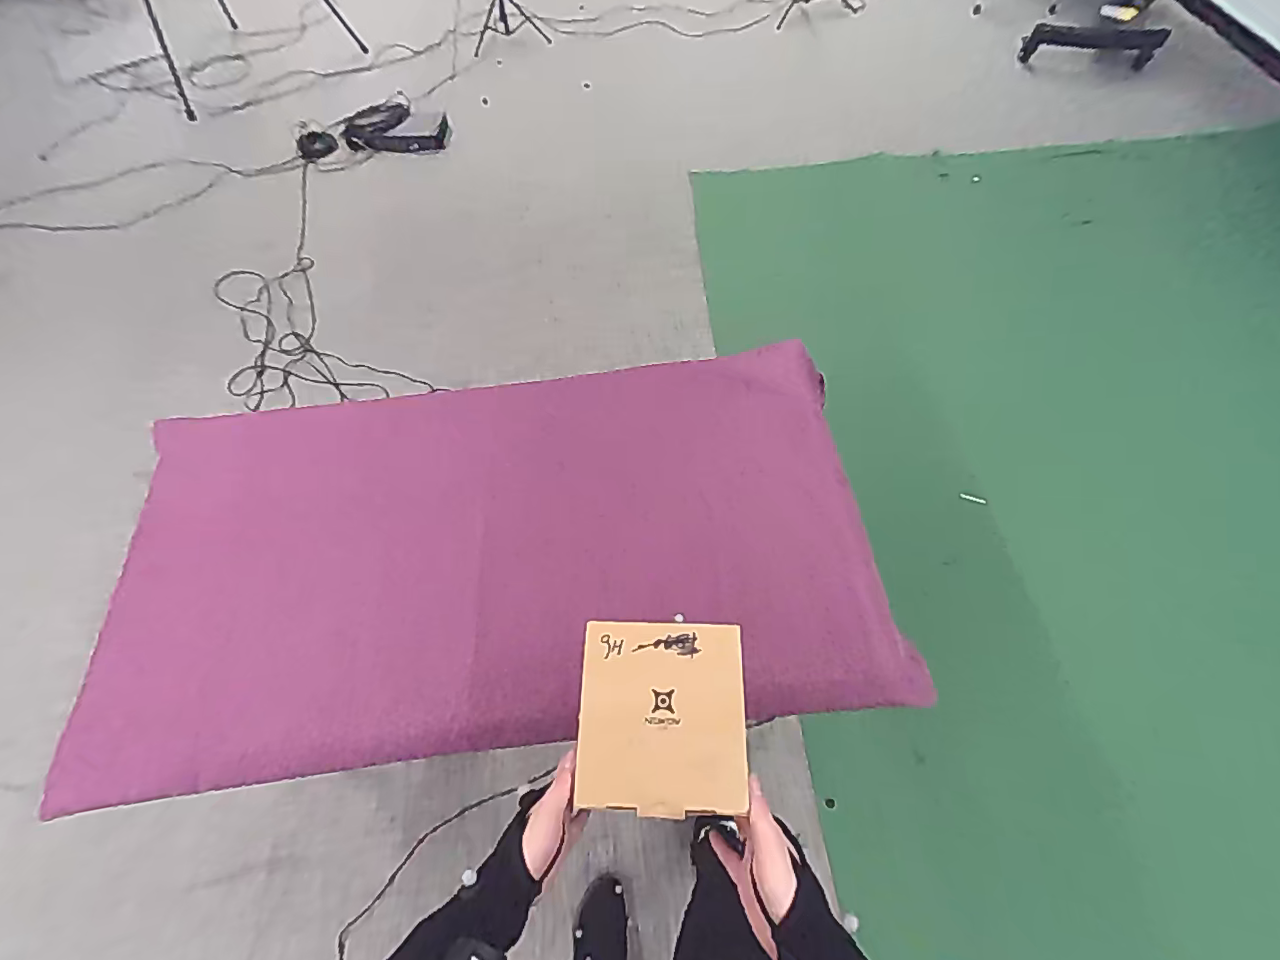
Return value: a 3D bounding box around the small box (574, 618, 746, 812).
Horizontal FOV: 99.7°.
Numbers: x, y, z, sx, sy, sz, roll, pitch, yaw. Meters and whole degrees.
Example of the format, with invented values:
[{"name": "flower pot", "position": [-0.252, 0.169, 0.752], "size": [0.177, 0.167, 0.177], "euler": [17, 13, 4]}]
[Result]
[{"name": "small box", "position": [0.025, 0.263, 0.613], "size": [0.168, 0.176, 0.179], "euler": [1, 63, 2]}]
